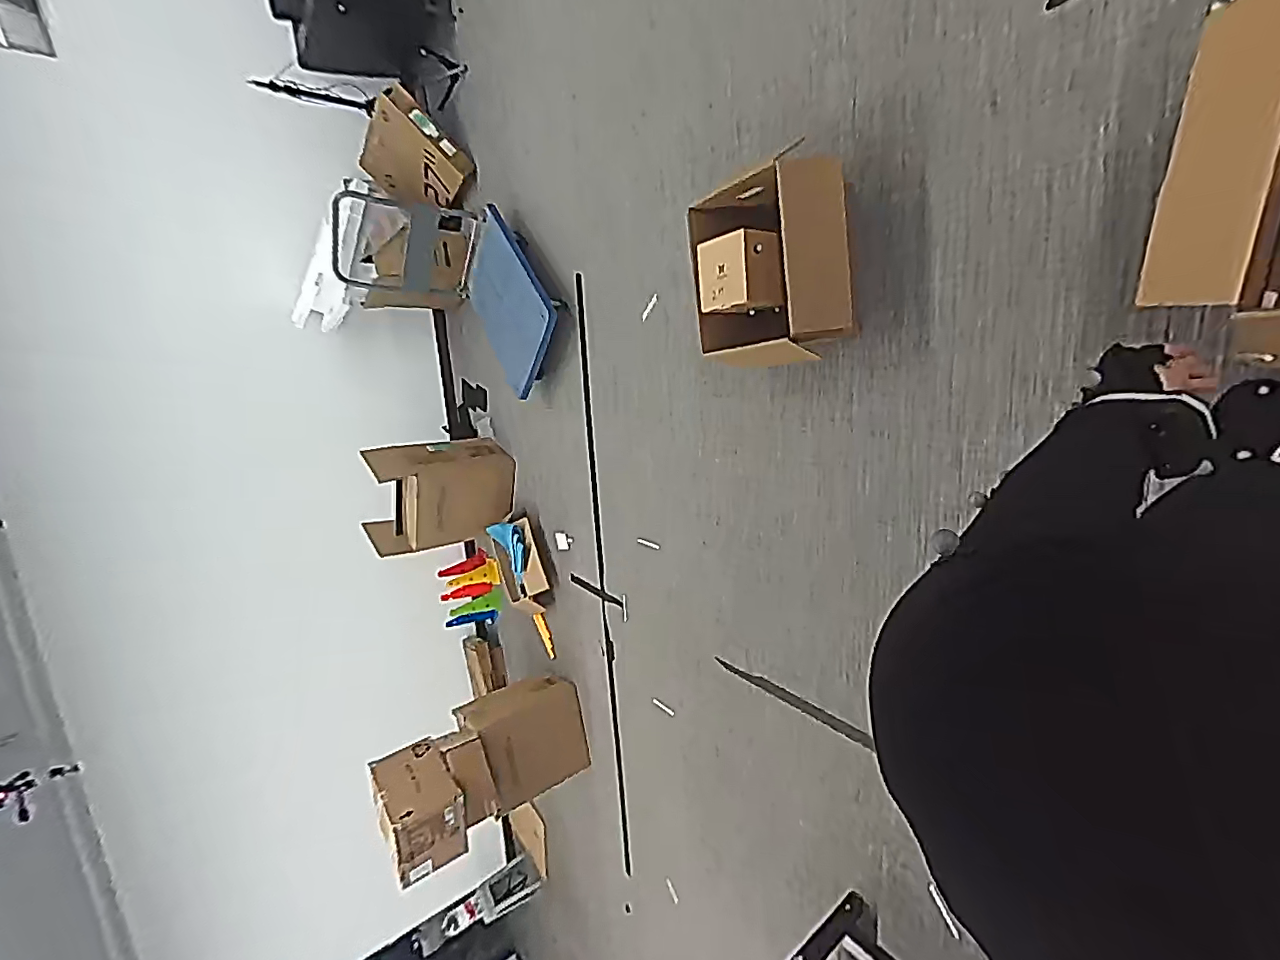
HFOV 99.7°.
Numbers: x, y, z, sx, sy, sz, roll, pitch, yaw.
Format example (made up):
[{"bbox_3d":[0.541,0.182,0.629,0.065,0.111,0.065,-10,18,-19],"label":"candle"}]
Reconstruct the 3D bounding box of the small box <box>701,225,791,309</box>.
[{"bbox_3d":[0.279,-0.550,1.418,0.168,0.176,0.179,9,108,53],"label":"small box"}]
